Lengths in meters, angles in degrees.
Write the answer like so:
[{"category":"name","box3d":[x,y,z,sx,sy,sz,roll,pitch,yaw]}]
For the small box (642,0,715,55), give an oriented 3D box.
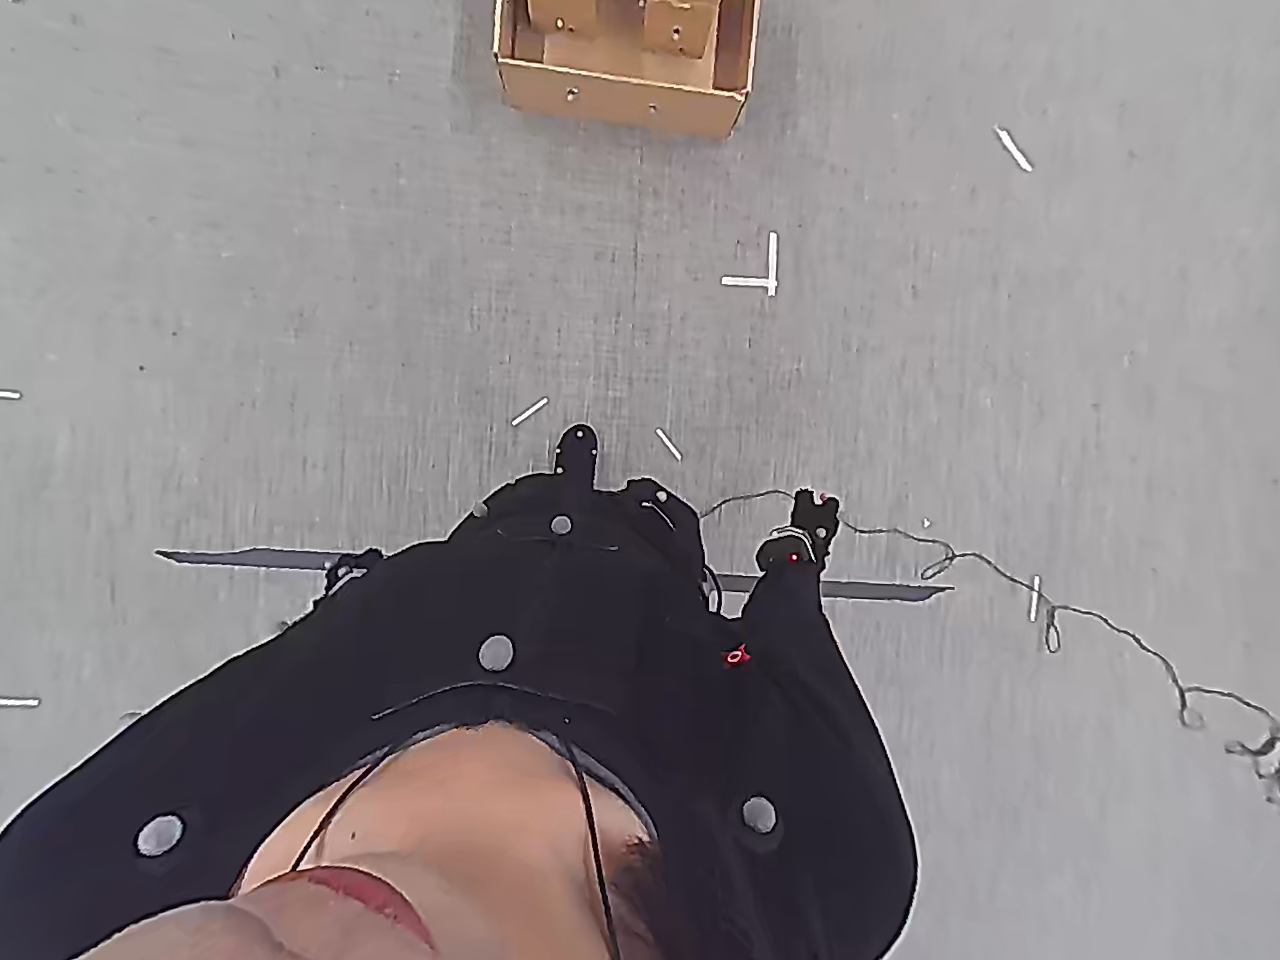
[{"category":"small box","box3d":[0.097,-1.198,1.332,0.168,0.176,0.179,5,94,-5]}]
